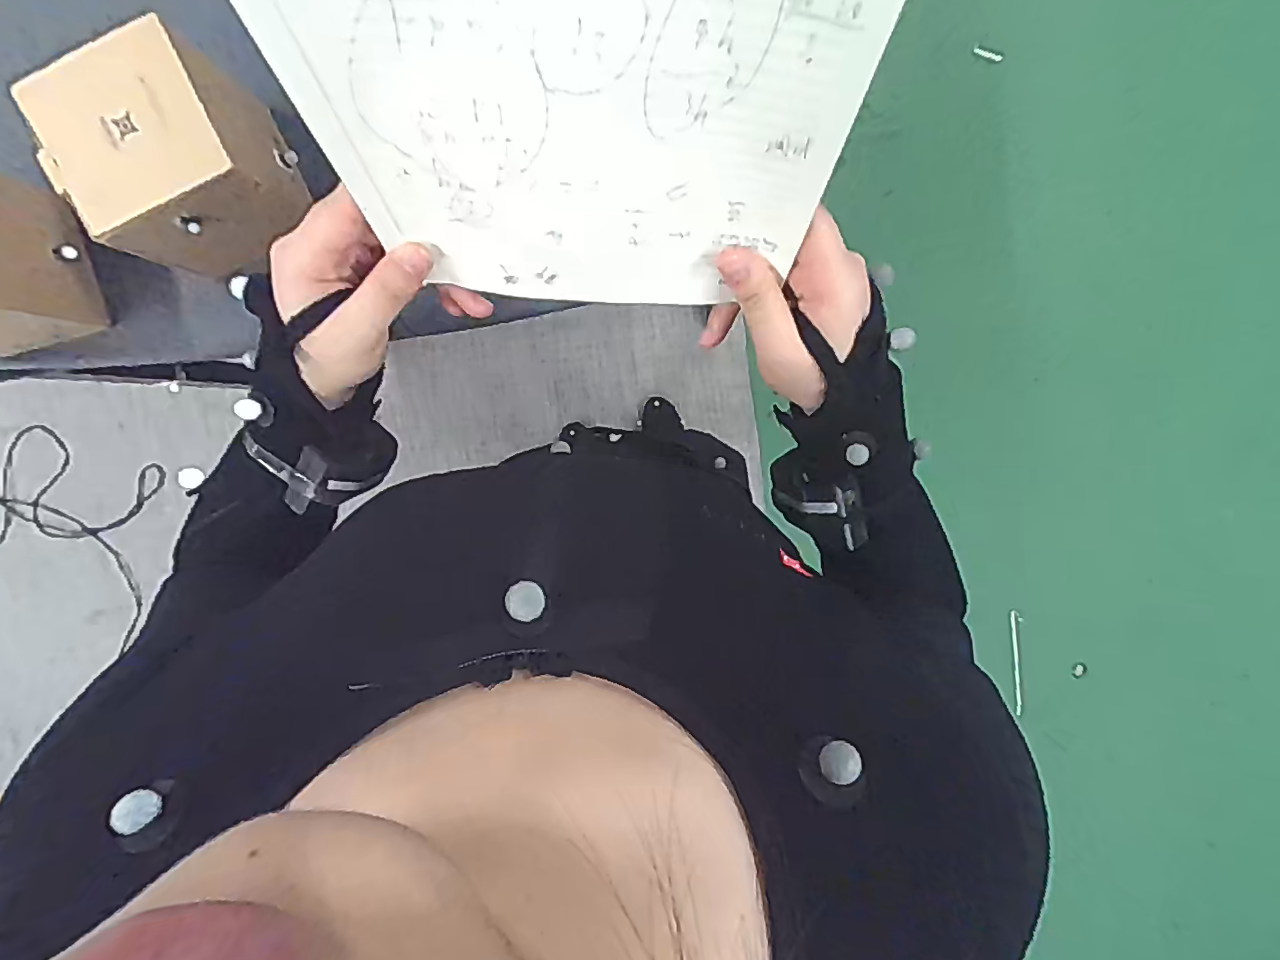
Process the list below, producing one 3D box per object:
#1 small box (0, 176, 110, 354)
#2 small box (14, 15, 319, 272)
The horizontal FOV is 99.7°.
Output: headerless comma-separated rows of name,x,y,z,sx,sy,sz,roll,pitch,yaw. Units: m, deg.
small box,-0.816,-0.263,0.652,0.168,0.176,0.179,-14,97,2
small box,-0.532,-0.371,0.637,0.179,0.176,0.168,-25,96,3
